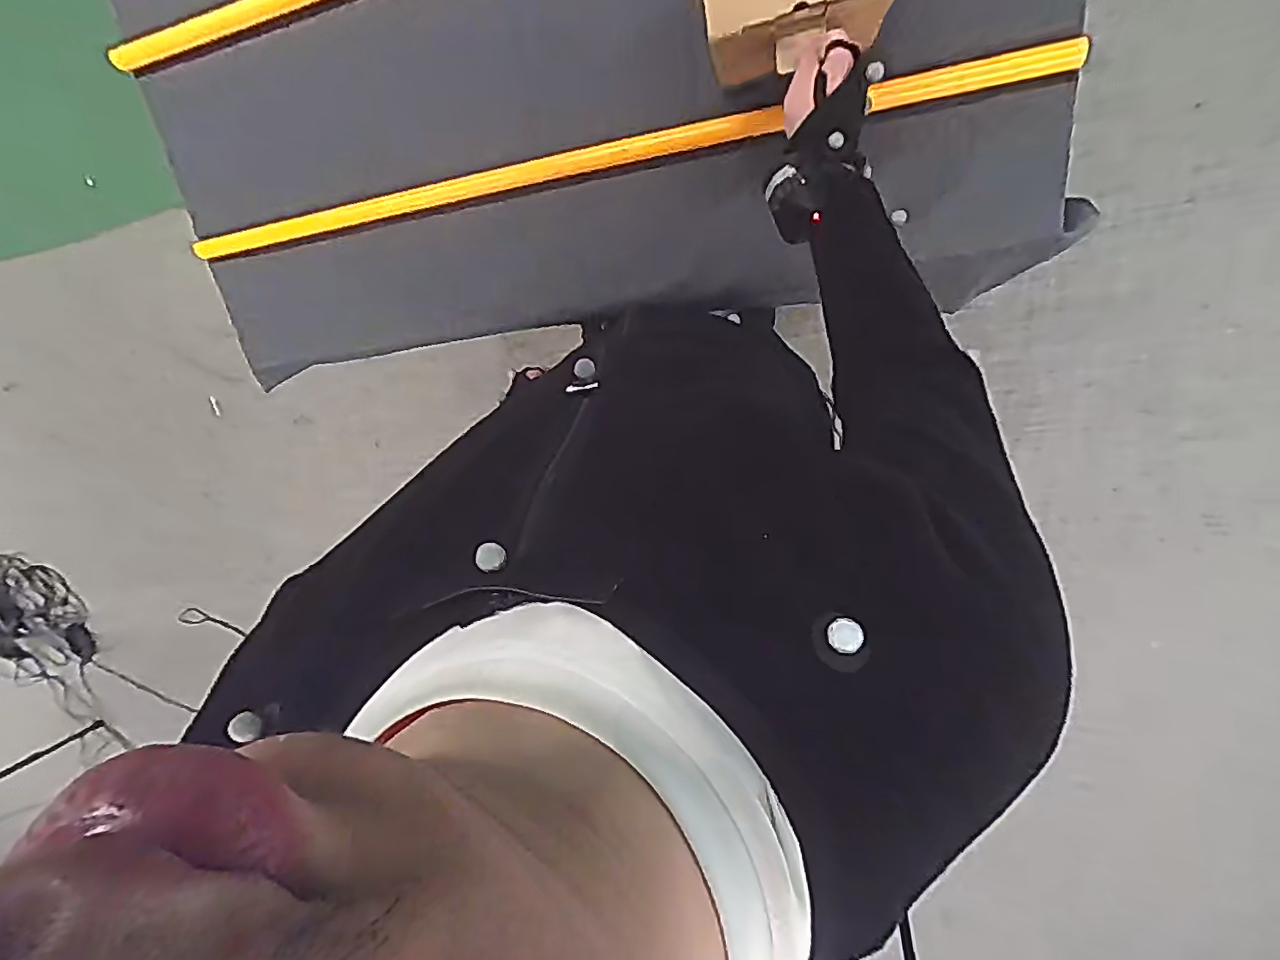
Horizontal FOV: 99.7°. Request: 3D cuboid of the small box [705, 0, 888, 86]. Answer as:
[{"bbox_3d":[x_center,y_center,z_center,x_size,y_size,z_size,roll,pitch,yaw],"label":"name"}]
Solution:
[{"bbox_3d":[0.149,-0.518,0.527,0.168,0.176,0.179,-6,110,18],"label":"small box"}]
